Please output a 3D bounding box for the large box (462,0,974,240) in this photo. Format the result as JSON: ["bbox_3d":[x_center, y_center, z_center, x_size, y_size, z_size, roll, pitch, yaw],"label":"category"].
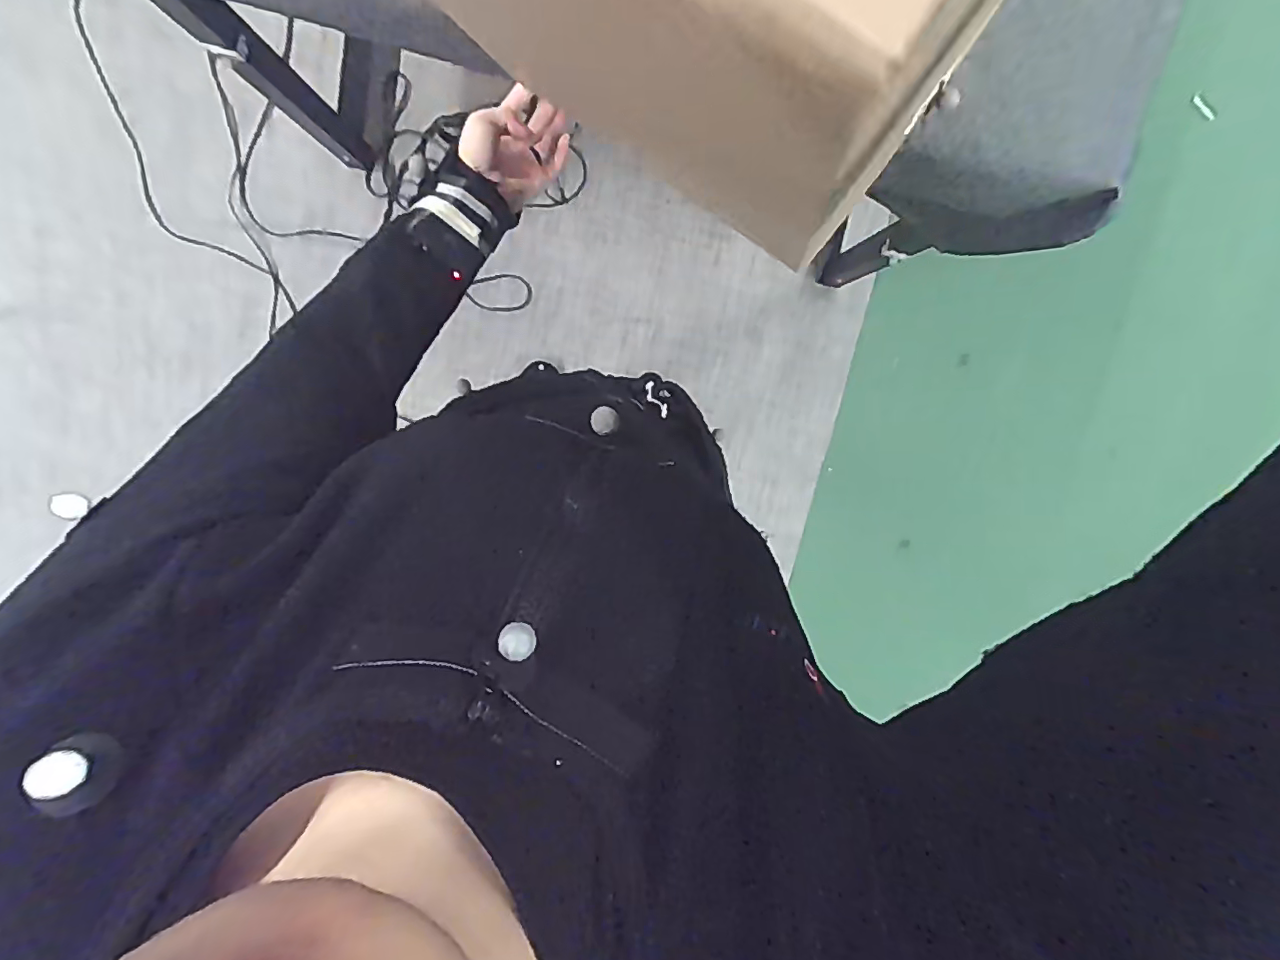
[{"bbox_3d":[0.054,-0.356,0.255,0.320,0.408,0.320,34,111,0],"label":"large box"}]
